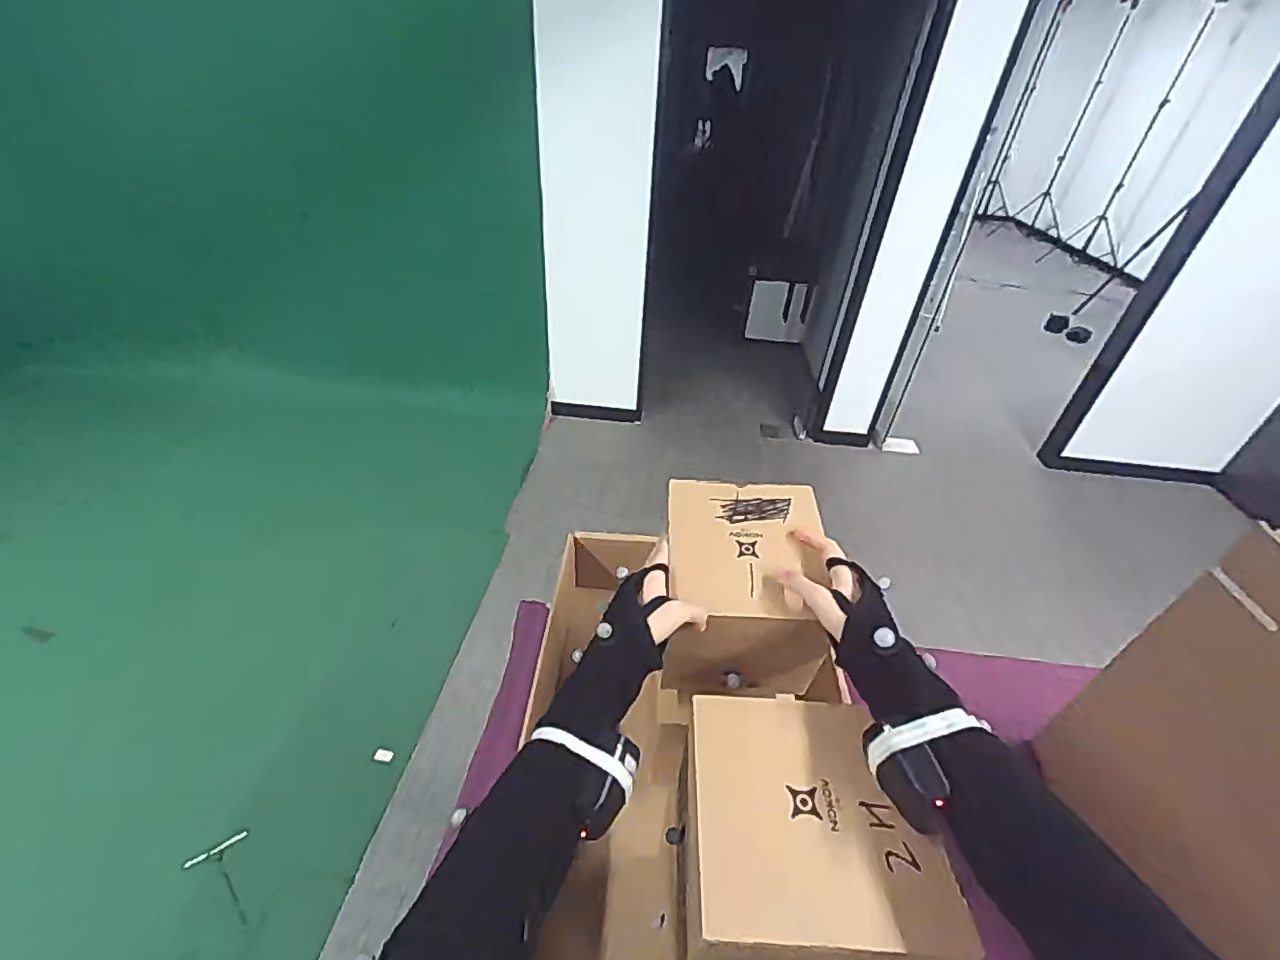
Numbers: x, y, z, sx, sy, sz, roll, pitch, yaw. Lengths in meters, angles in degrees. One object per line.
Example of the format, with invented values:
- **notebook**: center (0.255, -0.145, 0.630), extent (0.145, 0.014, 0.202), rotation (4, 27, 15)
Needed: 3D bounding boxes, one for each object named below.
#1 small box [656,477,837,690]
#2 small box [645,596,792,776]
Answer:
- **small box**: center (0.105, 0.118, 0.619), extent (0.168, 0.176, 0.179), rotation (2, 47, 1)
- **small box**: center (0.094, 0.280, 0.734), extent (0.168, 0.176, 0.179), rotation (2, 39, -1)
